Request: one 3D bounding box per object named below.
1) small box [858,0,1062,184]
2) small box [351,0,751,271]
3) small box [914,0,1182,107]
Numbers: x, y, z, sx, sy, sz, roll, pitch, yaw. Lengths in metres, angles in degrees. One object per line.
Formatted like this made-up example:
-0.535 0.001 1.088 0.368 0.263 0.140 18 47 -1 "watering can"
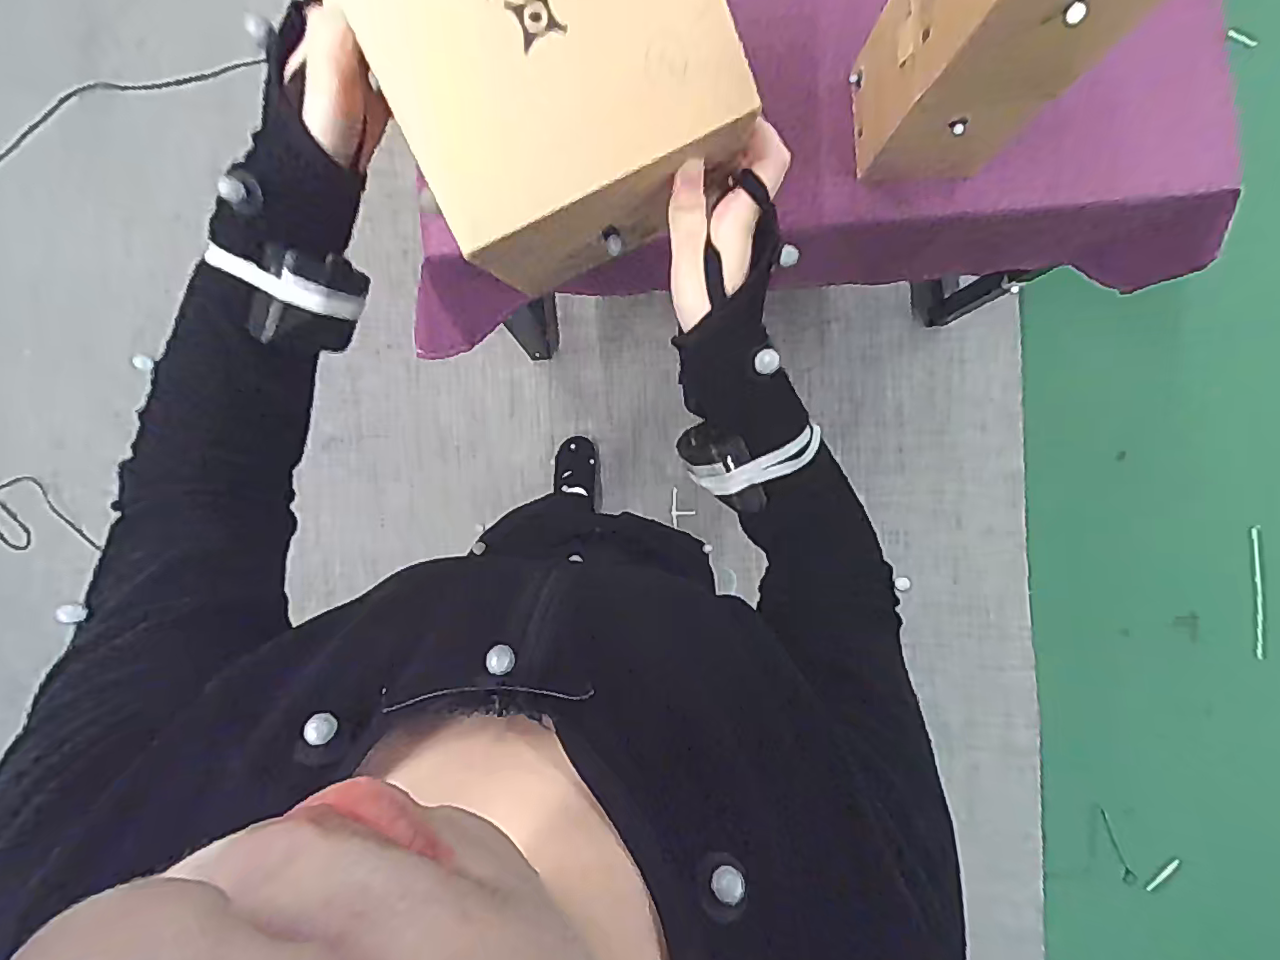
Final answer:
0.403 -0.517 0.714 0.179 0.176 0.168 -3 89 -2 "small box"
-0.049 -0.245 0.332 0.168 0.176 0.179 -22 101 5 "small box"
0.409 -0.519 0.551 0.179 0.176 0.168 -4 90 0 "small box"
